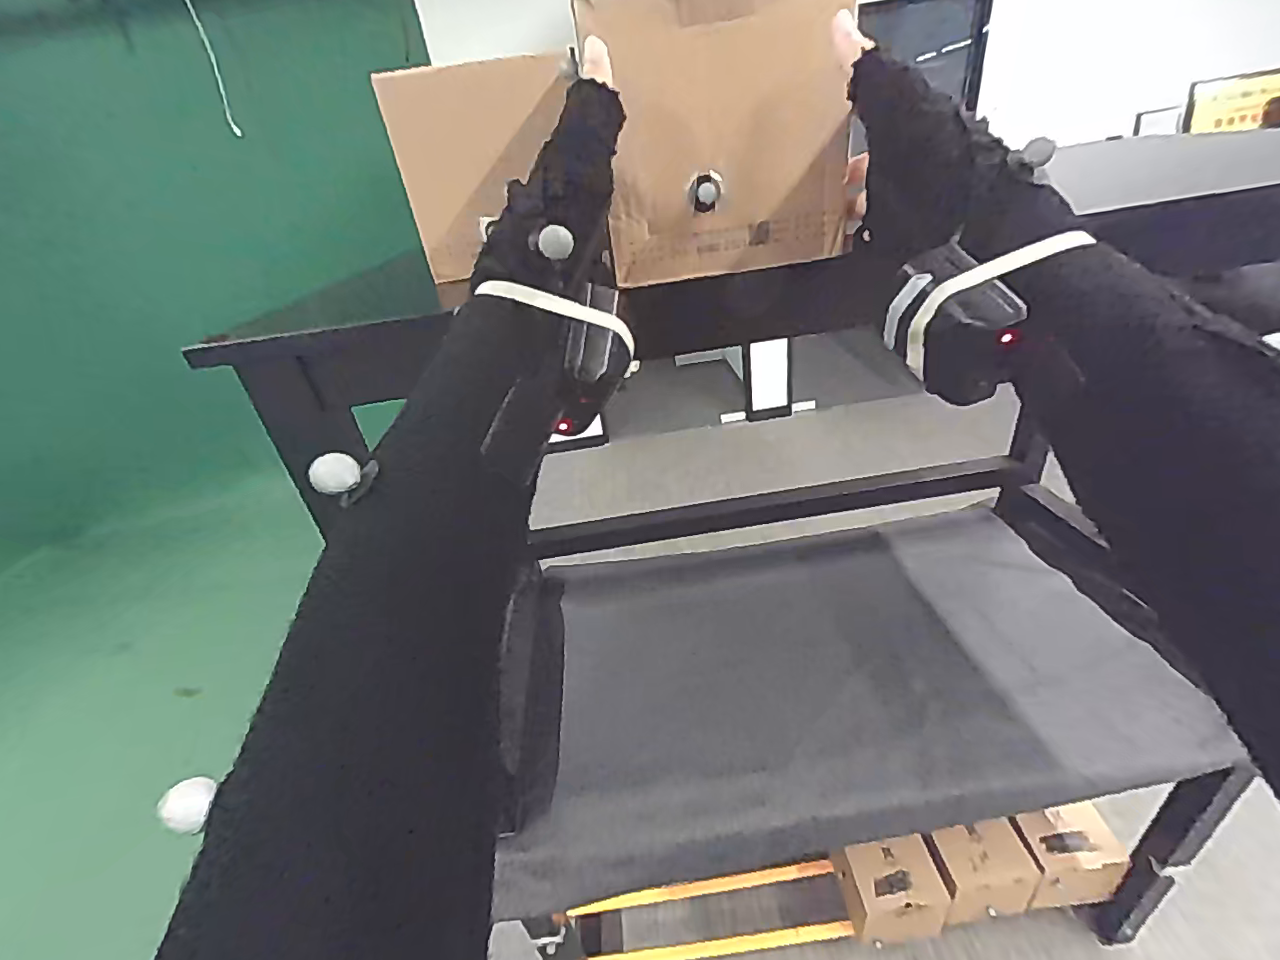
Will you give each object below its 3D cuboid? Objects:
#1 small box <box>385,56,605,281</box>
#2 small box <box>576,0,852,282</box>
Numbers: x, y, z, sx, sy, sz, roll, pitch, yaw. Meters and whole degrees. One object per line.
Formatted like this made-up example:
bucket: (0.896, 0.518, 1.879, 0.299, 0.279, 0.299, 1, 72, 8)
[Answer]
small box: (-0.135, -0.315, 0.566, 0.168, 0.176, 0.179, -11, 31, -3)
small box: (0.048, -0.261, 0.425, 0.168, 0.176, 0.179, -8, 30, 1)
